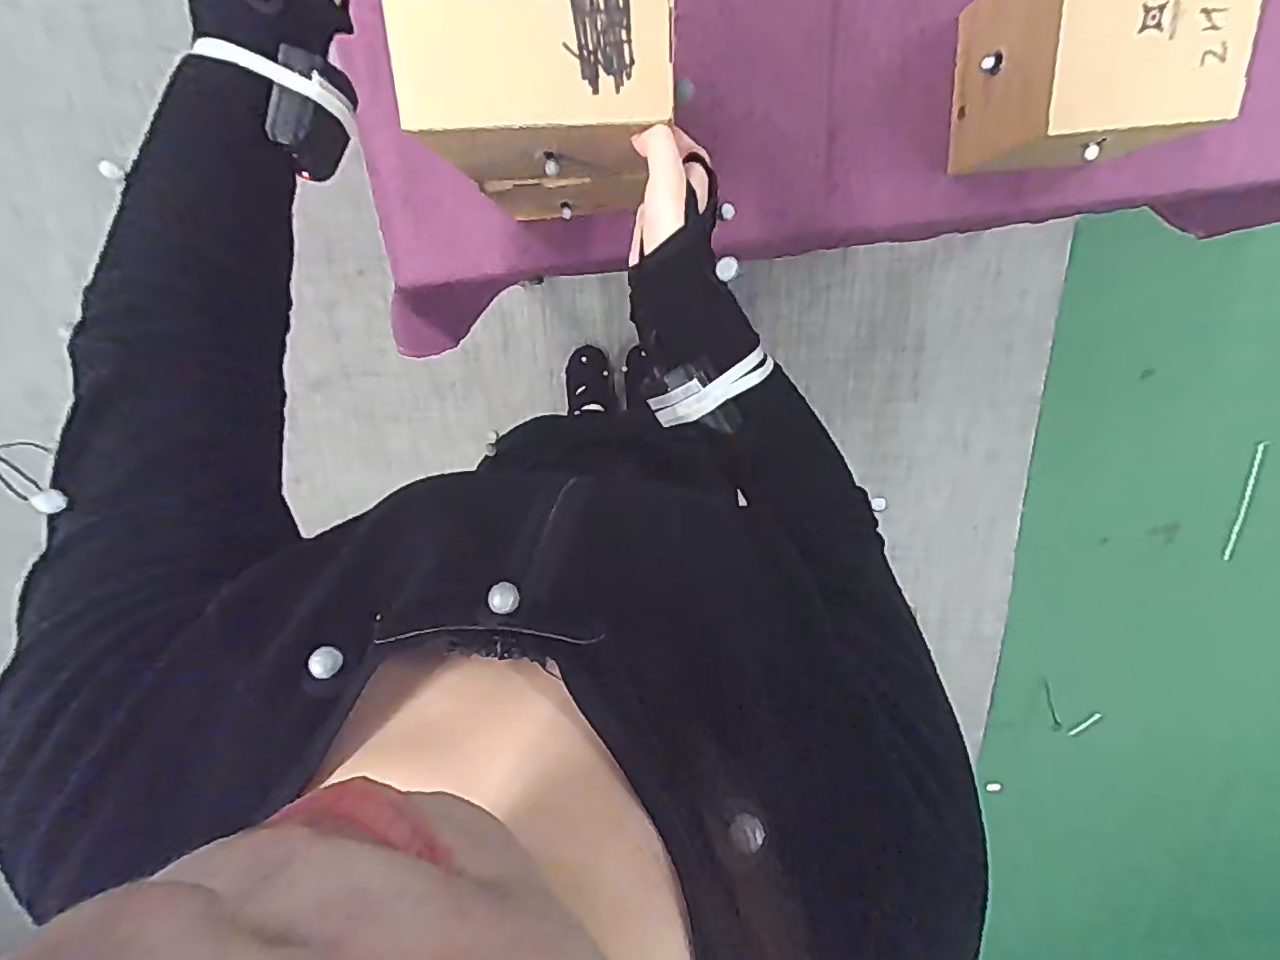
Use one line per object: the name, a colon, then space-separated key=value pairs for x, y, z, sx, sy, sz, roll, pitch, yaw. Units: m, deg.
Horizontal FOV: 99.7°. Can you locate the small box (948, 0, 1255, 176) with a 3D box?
small box: x=0.446 y=-0.422 z=0.549 sx=0.179 sy=0.176 sz=0.168 roll=-5 pitch=109 yaw=0

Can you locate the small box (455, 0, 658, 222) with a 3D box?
small box: x=-0.074 y=-0.376 z=0.552 sx=0.168 sy=0.176 sz=0.179 roll=-6 pitch=109 yaw=0
